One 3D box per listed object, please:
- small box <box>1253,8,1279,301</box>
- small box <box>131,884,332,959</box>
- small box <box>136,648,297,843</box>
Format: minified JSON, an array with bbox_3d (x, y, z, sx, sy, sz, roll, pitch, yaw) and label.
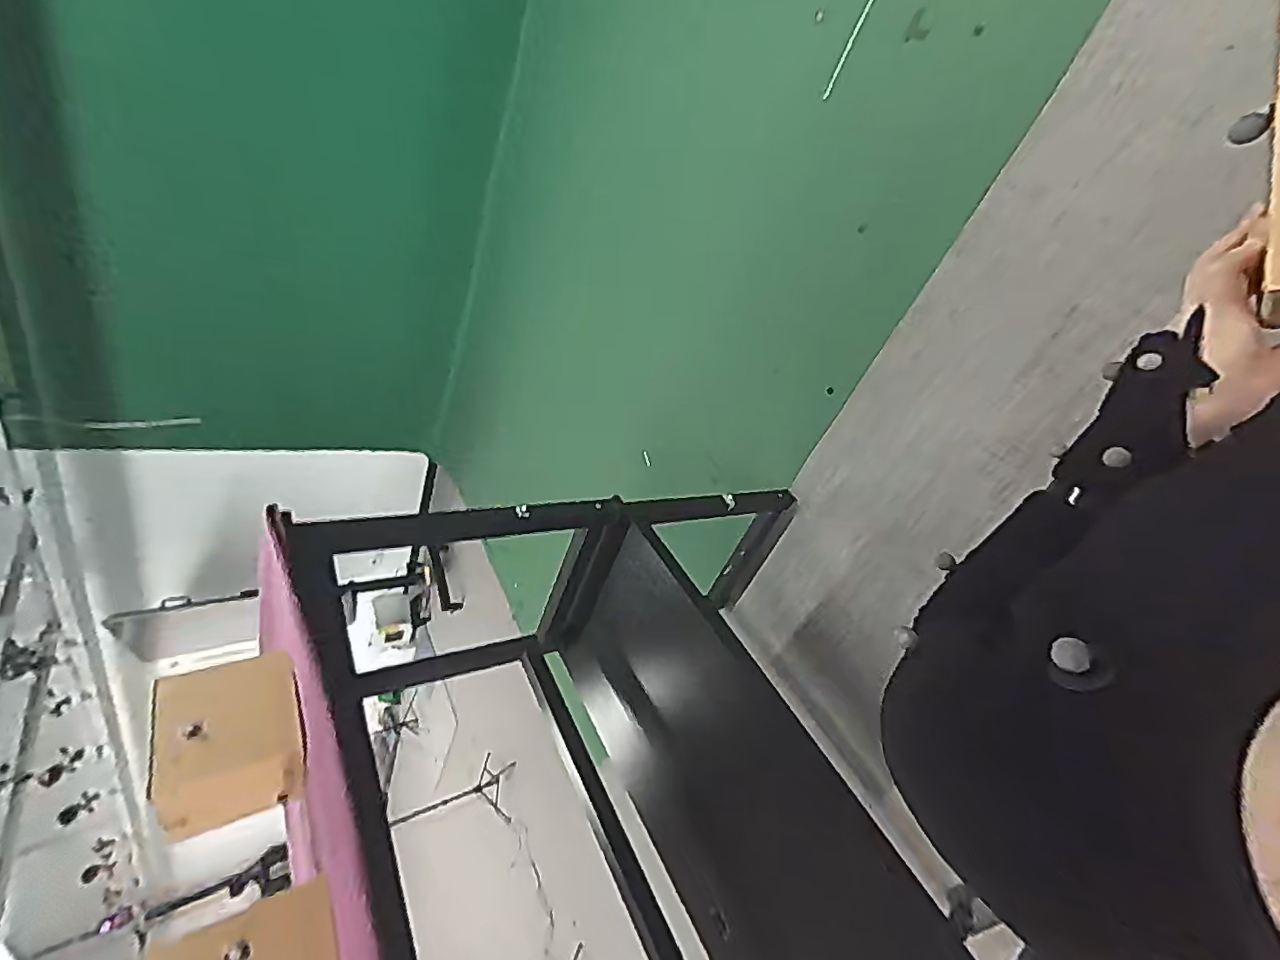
[{"bbox_3d":[0.419,-0.188,0.247,0.179,0.176,0.168,4,97,46],"label":"small box"},{"bbox_3d":[-0.426,0.577,0.576,0.179,0.176,0.168,49,128,37],"label":"small box"},{"bbox_3d":[-0.612,0.379,0.796,0.179,0.176,0.168,53,132,36],"label":"small box"}]
